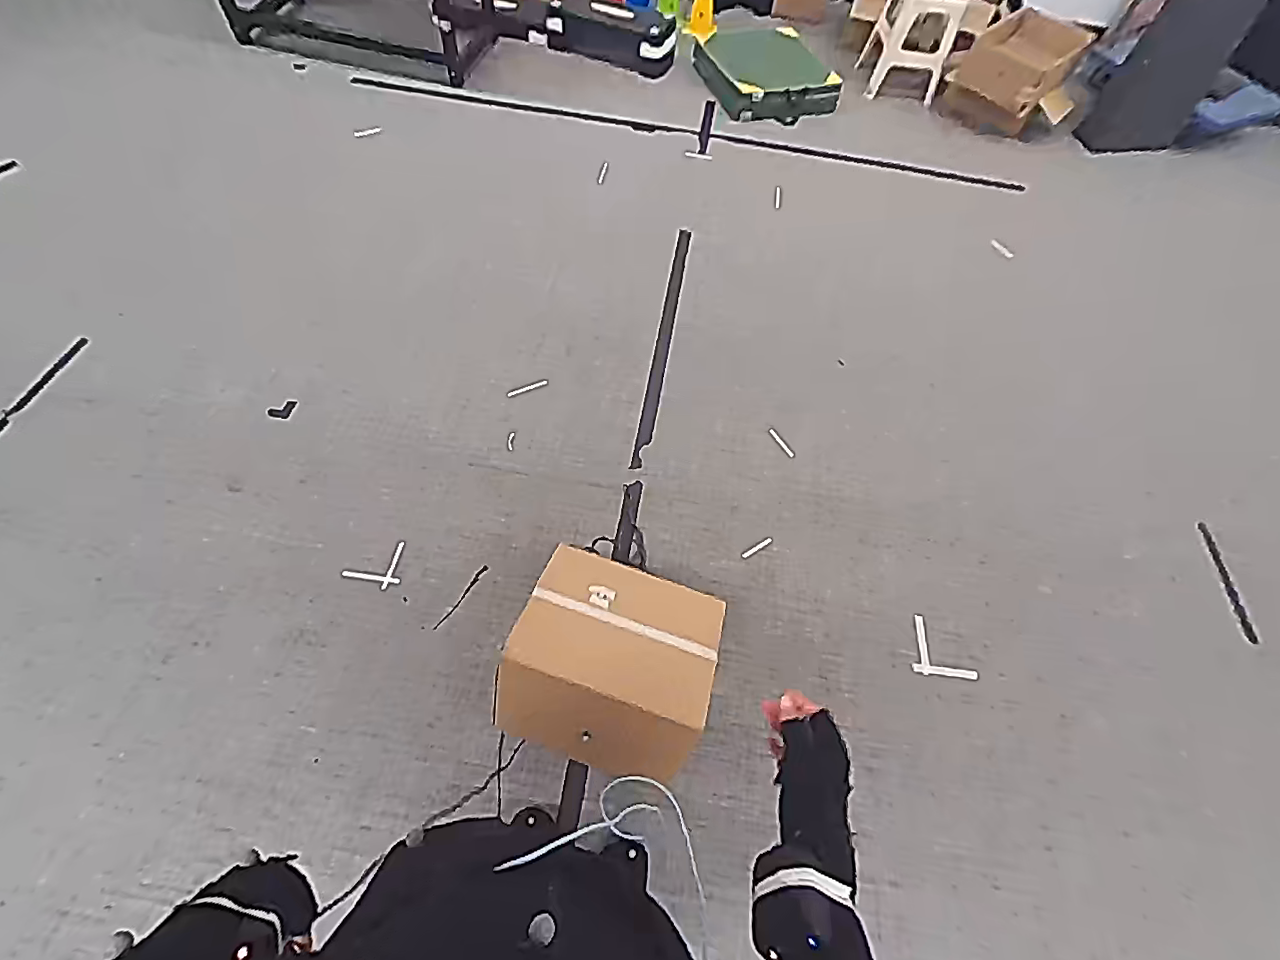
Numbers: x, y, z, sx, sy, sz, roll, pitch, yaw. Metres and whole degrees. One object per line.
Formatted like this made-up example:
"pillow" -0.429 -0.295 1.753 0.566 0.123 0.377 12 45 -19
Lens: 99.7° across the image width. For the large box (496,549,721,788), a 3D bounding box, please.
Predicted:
"large box" -0.069 0.419 1.210 0.408 0.320 0.320 19 39 5
